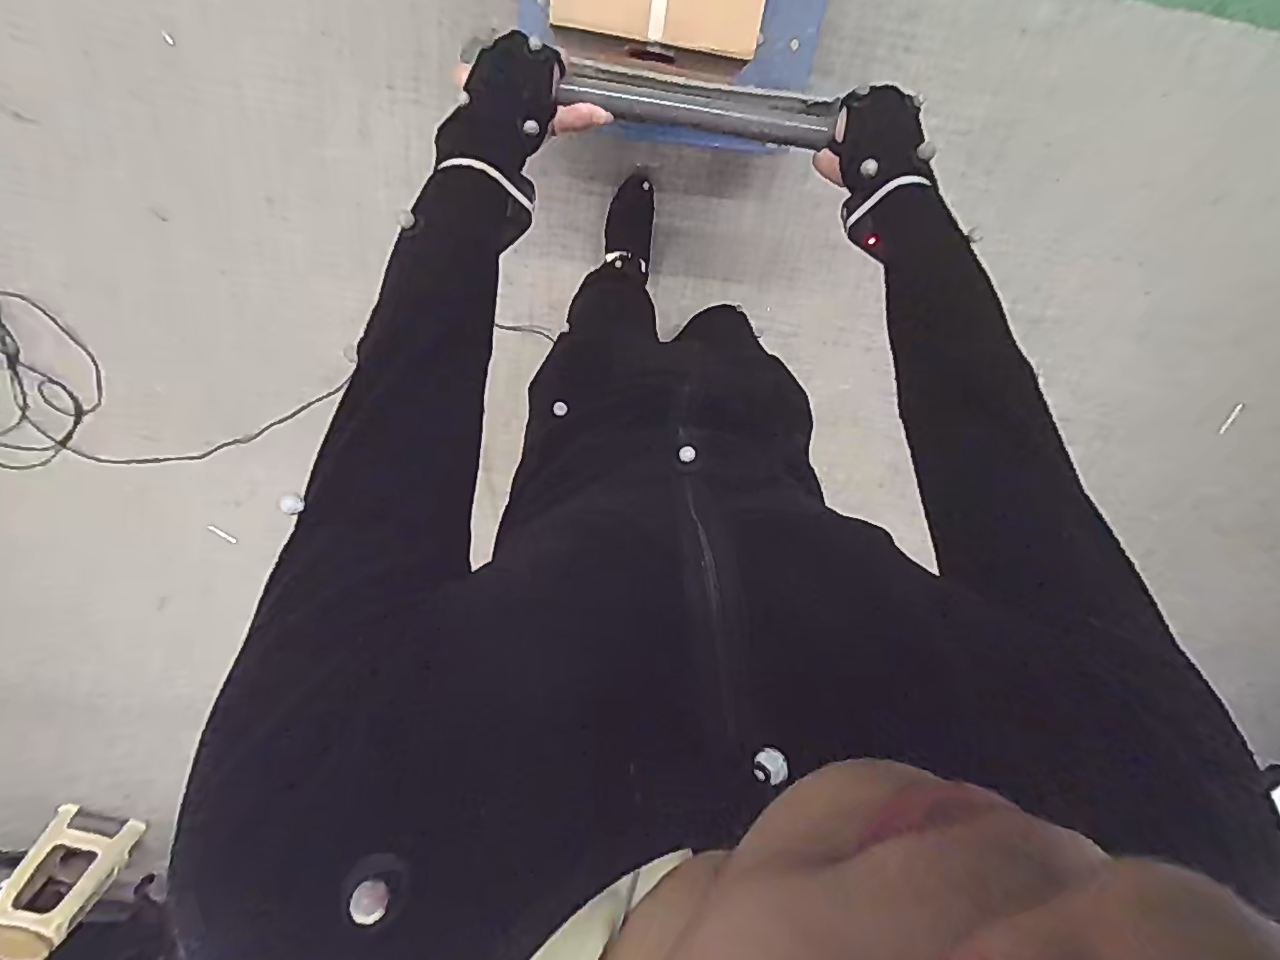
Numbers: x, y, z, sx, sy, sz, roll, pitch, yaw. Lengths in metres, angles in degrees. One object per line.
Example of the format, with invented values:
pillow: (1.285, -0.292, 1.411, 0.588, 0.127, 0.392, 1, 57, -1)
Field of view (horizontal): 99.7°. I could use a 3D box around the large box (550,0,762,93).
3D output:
large box: (0.039, -0.899, 0.859, 0.320, 0.320, 0.408, 6, 117, -6)
